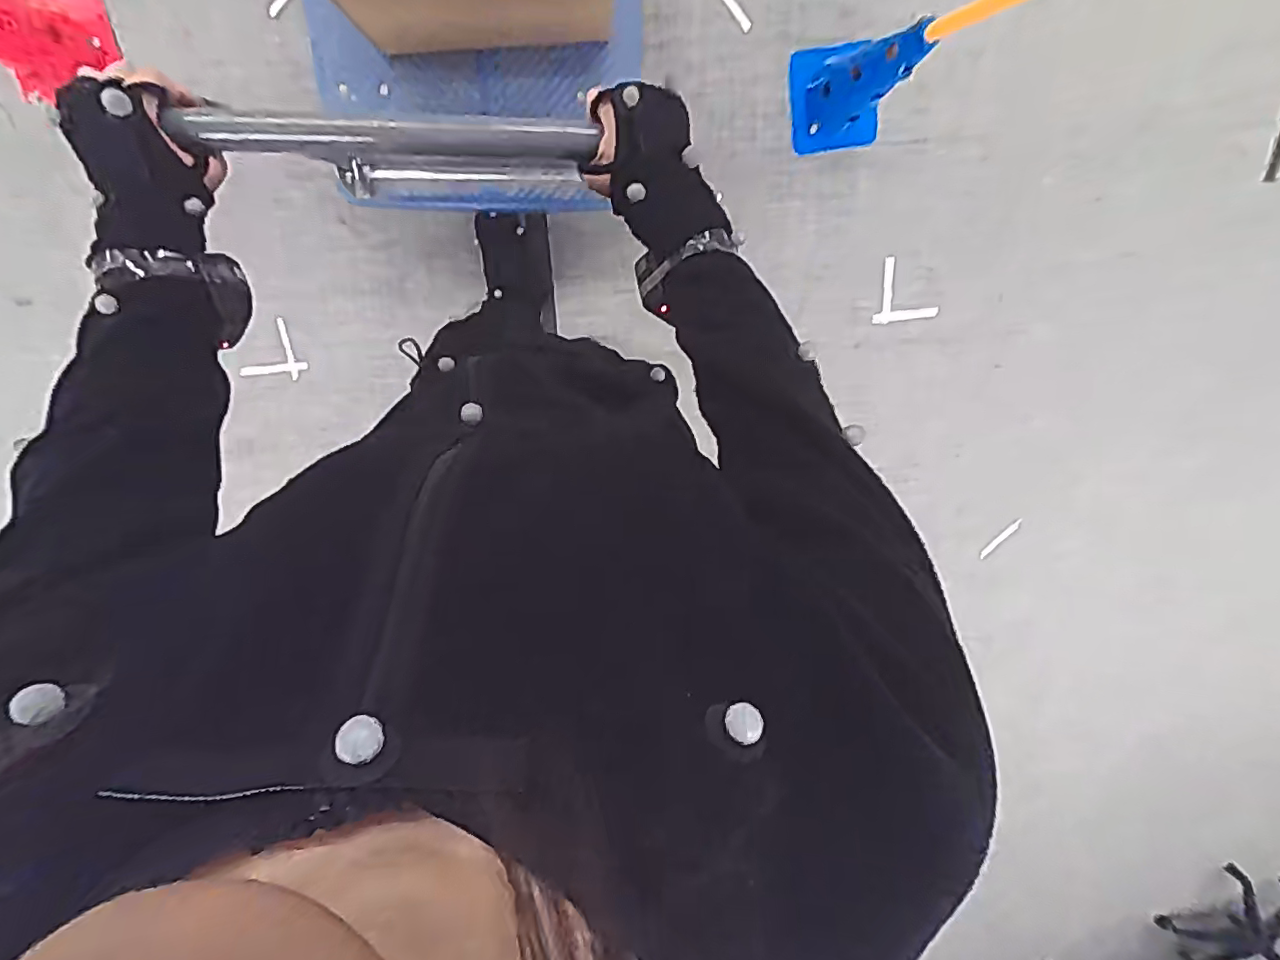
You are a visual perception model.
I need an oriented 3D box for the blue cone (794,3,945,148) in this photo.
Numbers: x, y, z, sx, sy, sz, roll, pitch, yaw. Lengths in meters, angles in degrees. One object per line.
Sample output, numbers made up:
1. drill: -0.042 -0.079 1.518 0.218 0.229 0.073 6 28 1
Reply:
1. blue cone: 0.454 -0.793 1.040 0.193 0.380 0.192 -9 110 -4
